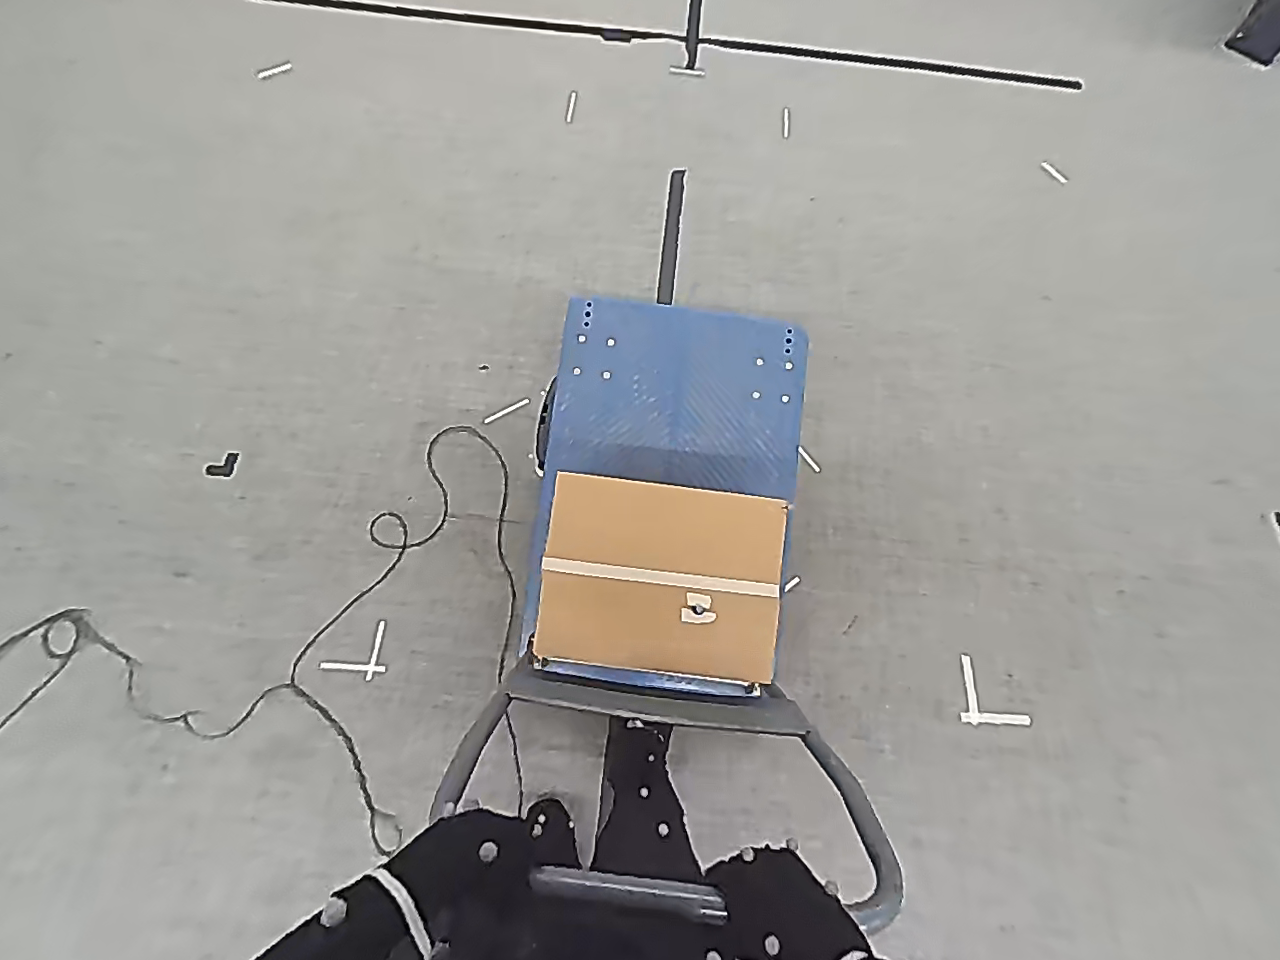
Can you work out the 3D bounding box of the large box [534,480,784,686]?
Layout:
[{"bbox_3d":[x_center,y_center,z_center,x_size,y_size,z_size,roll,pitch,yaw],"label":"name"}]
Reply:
[{"bbox_3d":[0.028,0.189,1.060,0.408,0.320,0.320,7,85,-1],"label":"large box"}]
